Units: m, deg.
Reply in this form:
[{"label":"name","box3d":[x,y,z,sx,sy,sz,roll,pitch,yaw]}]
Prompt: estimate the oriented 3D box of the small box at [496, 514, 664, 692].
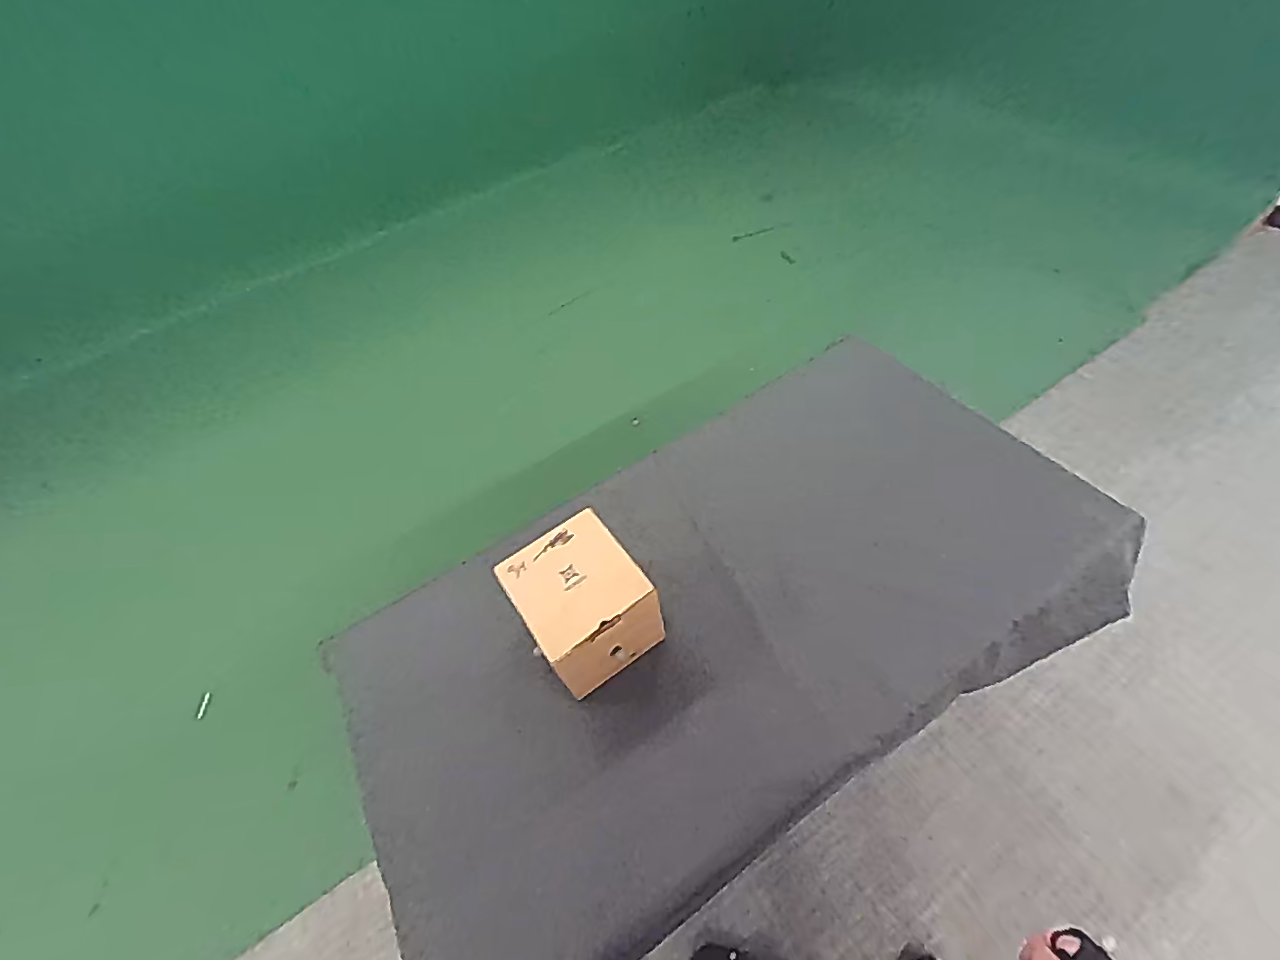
[{"label":"small box","box3d":[-0.081,0.192,0.812,0.168,0.176,0.179,-36,56,-16]}]
